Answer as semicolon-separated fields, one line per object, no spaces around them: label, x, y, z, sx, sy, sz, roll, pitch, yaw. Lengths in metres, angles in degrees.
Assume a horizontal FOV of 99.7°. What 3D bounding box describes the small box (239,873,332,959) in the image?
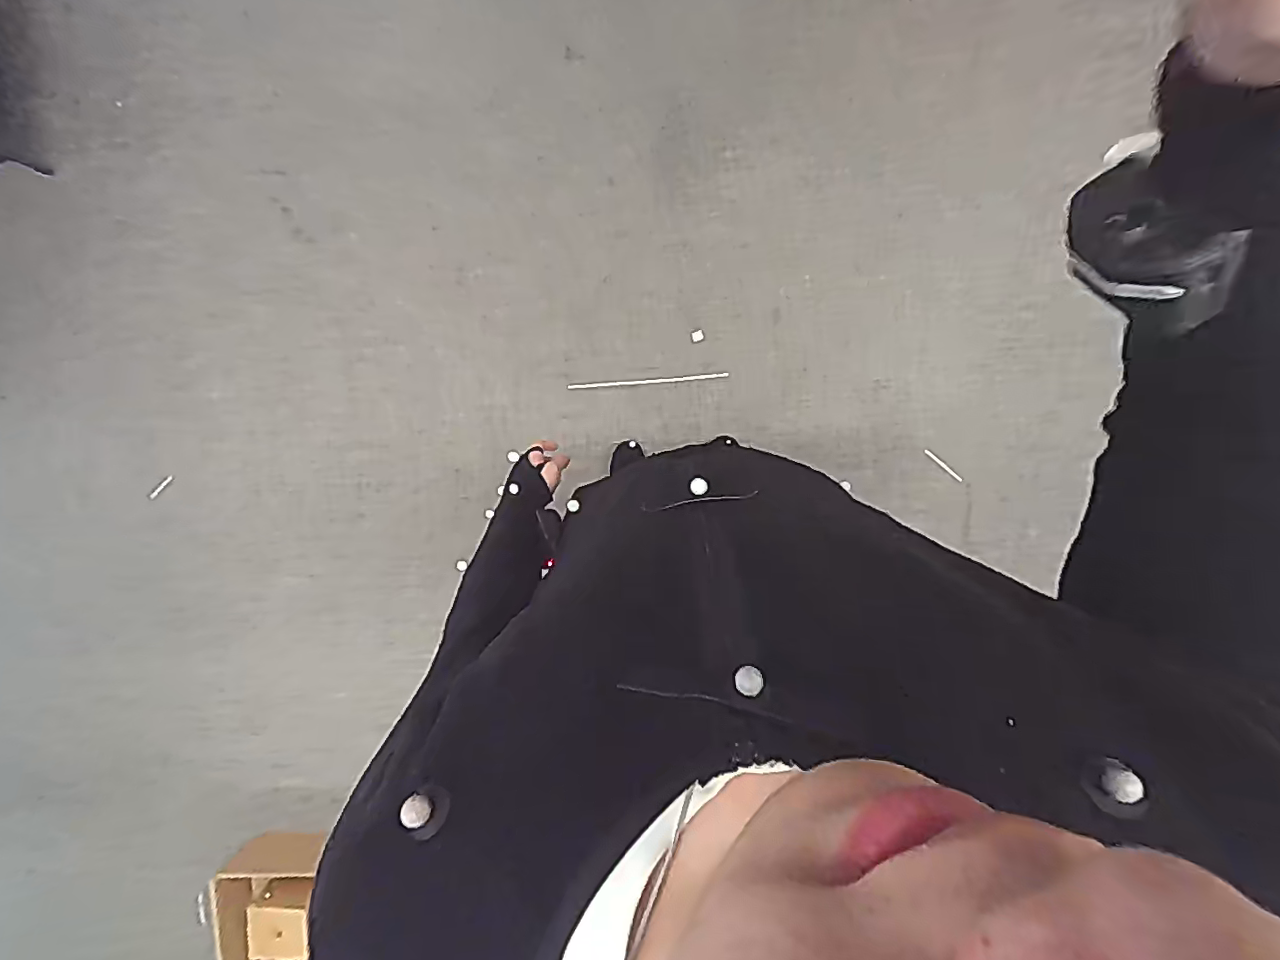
small box;-1.047;1.313;1.611;0.179;0.176;0.168;1;94;2
